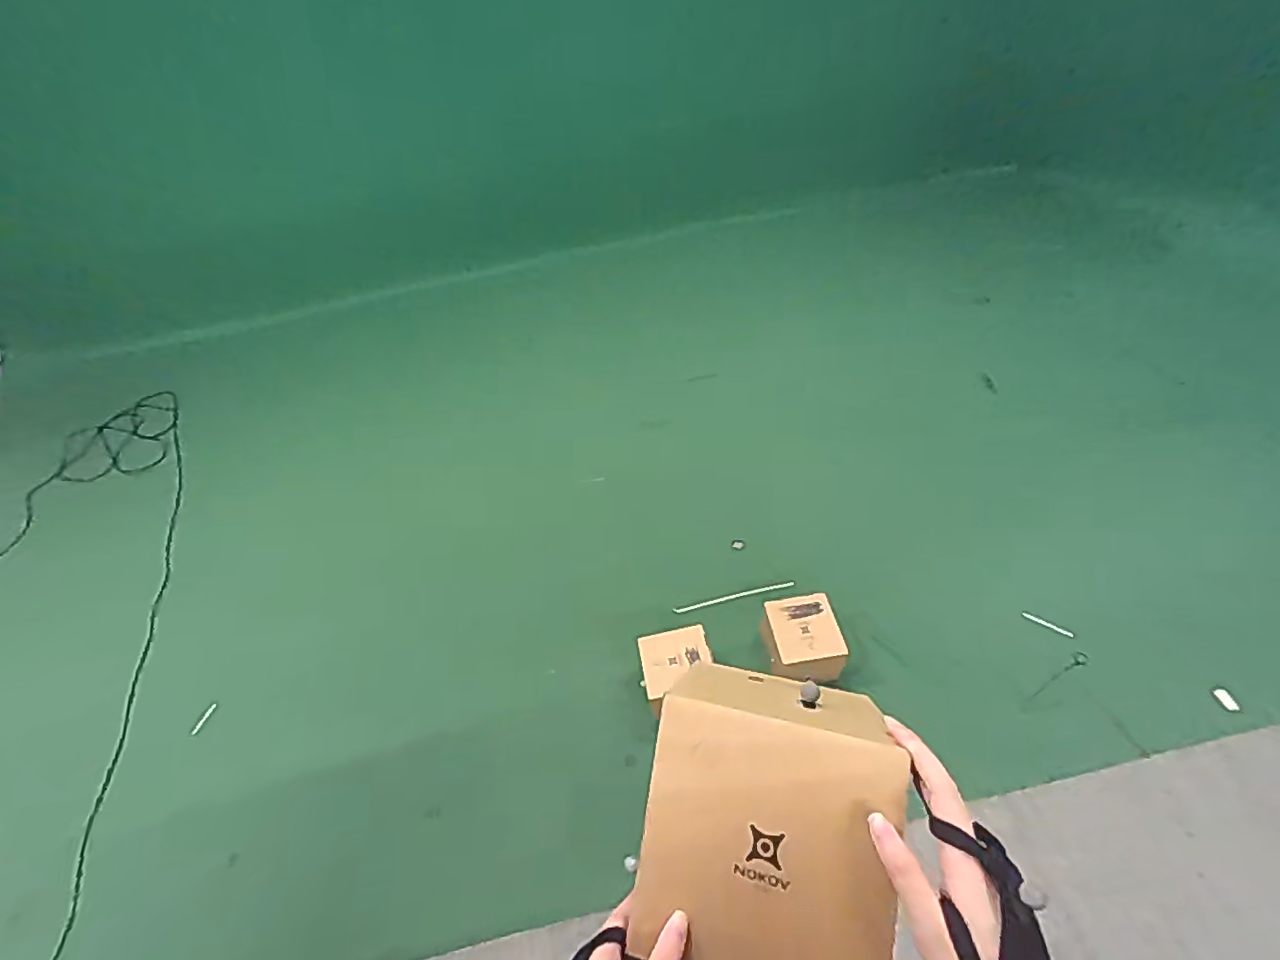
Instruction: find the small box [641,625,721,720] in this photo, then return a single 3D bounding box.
[{"bbox_3d":[0.108,0.508,1.421,0.179,0.176,0.168,-13,48,-1],"label":"small box"}]
